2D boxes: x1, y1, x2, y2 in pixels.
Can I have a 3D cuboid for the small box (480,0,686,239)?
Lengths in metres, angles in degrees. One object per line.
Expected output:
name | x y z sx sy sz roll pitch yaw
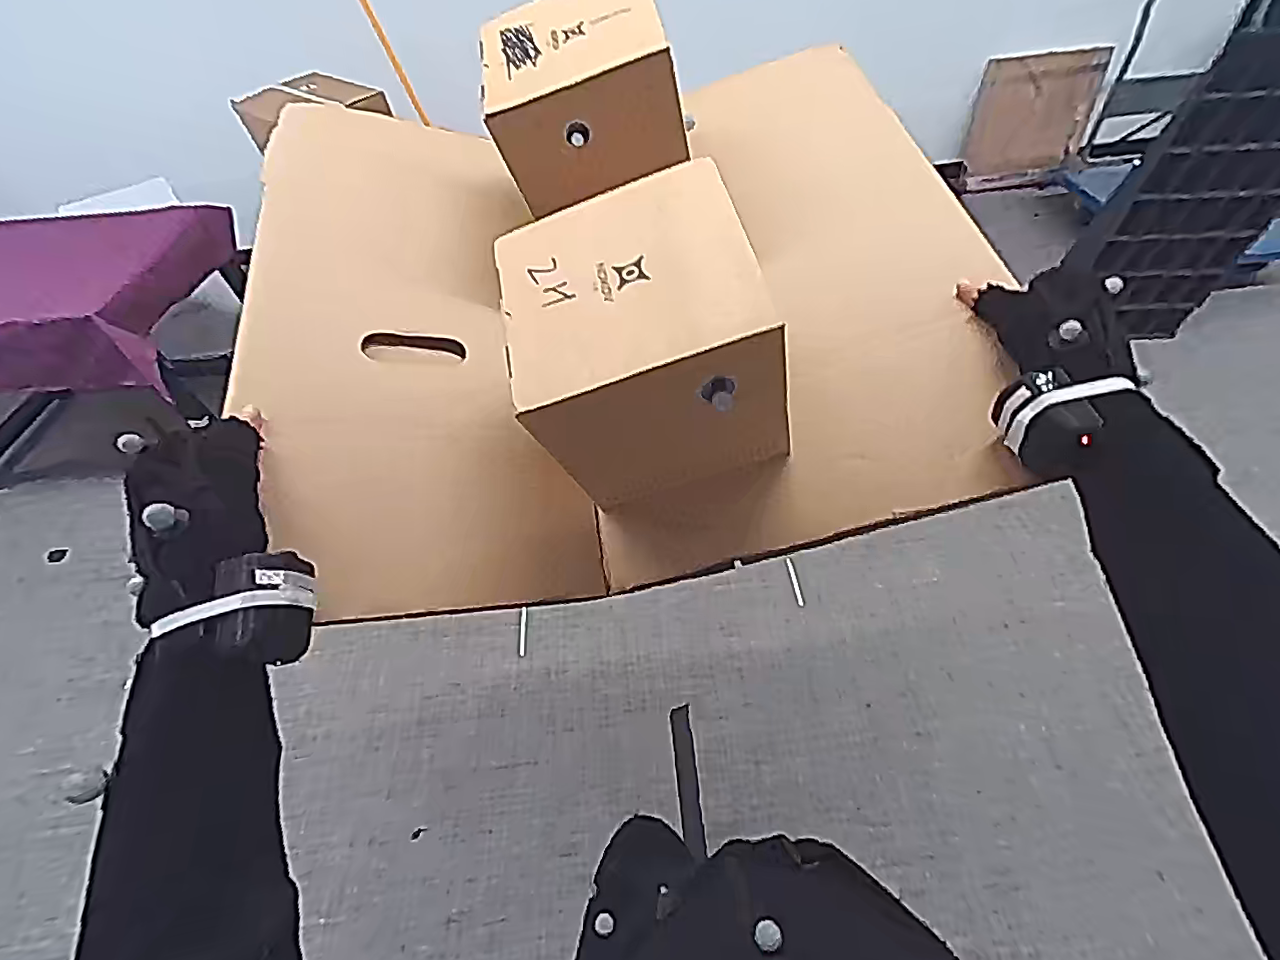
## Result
small box | -0.054 -0.372 0.591 0.179 0.176 0.168 -15 63 9

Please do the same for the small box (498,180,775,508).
small box | 0.005 -0.096 0.447 0.179 0.176 0.168 -17 62 9
